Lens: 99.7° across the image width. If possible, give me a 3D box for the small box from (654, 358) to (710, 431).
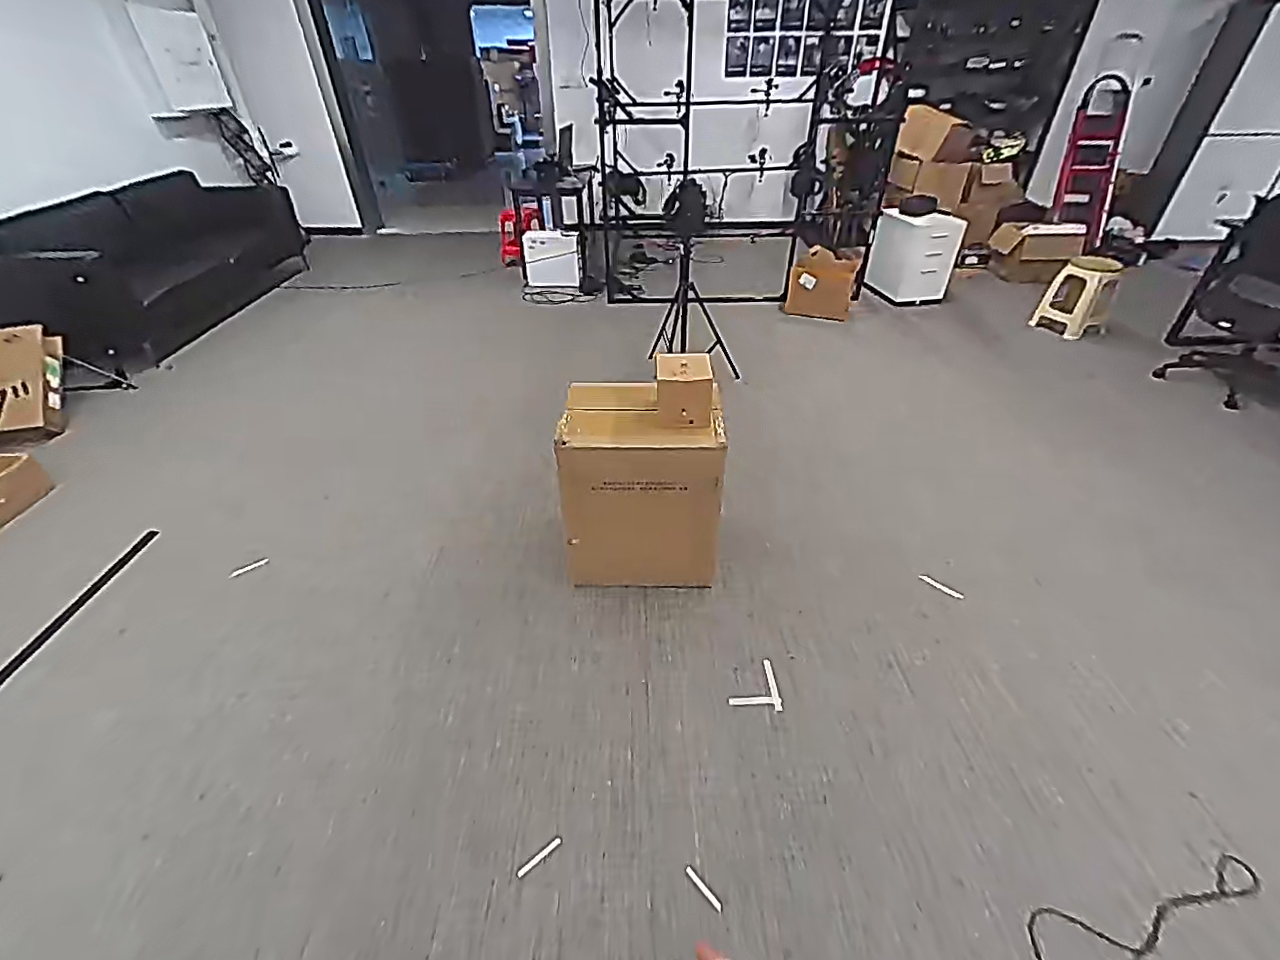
[{"bbox_3d":[0.128,-0.271,1.704,0.168,0.176,0.179,-1,39,2],"label":"small box"}]
